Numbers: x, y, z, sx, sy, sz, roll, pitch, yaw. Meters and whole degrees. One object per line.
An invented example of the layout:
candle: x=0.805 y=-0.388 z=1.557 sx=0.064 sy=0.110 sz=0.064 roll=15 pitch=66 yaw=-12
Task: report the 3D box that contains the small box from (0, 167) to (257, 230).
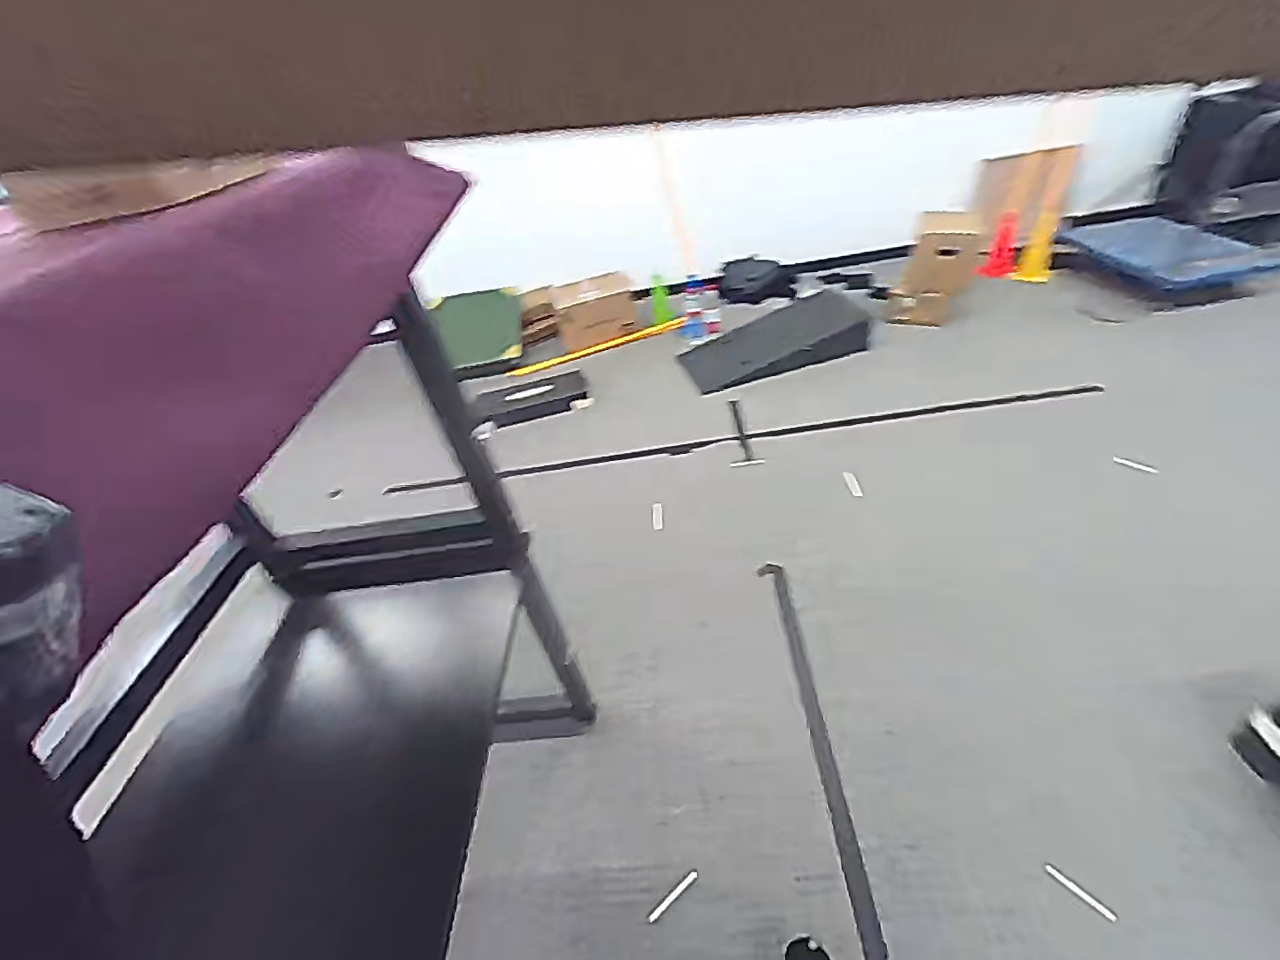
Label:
small box: x=-0.523 y=-0.358 z=0.522 sx=0.168 sy=0.176 sz=0.179 roll=-6 pitch=39 yaw=9
